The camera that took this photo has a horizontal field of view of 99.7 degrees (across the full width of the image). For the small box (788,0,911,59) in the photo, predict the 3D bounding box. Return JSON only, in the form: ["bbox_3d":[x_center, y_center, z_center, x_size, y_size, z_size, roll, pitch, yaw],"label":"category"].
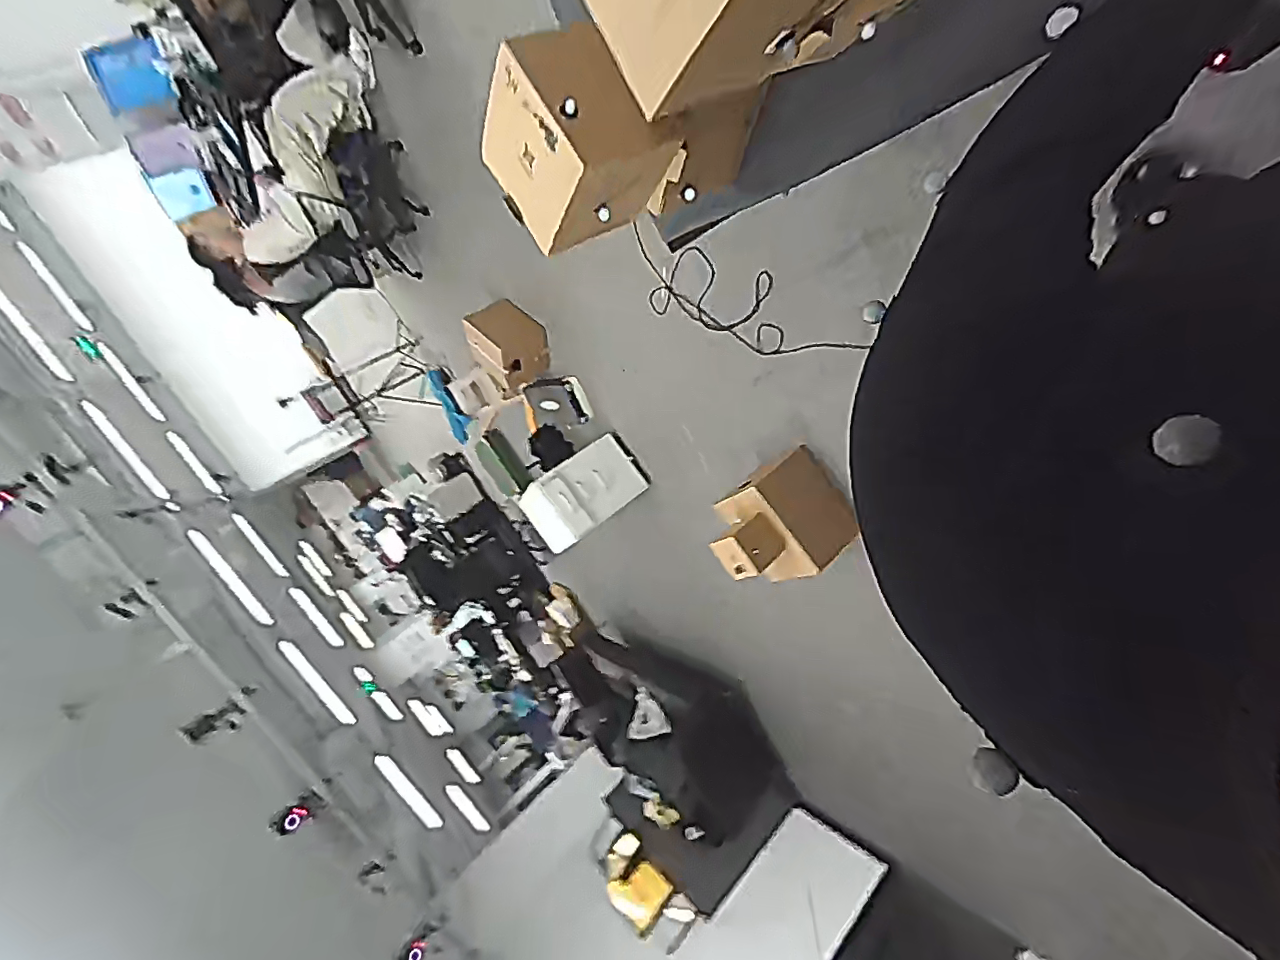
[{"bbox_3d":[0.186,-0.547,0.527,0.168,0.176,0.179,7,127,58],"label":"small box"}]

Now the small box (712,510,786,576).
[{"bbox_3d":[0.417,0.239,2.052,0.179,0.176,0.168,54,152,0],"label":"small box"}]

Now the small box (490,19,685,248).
[{"bbox_3d":[-0.071,-0.444,0.706,0.168,0.176,0.179,57,155,-3],"label":"small box"}]

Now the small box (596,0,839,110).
[{"bbox_3d":[0.069,-0.462,0.452,0.179,0.176,0.168,59,155,-9],"label":"small box"}]
